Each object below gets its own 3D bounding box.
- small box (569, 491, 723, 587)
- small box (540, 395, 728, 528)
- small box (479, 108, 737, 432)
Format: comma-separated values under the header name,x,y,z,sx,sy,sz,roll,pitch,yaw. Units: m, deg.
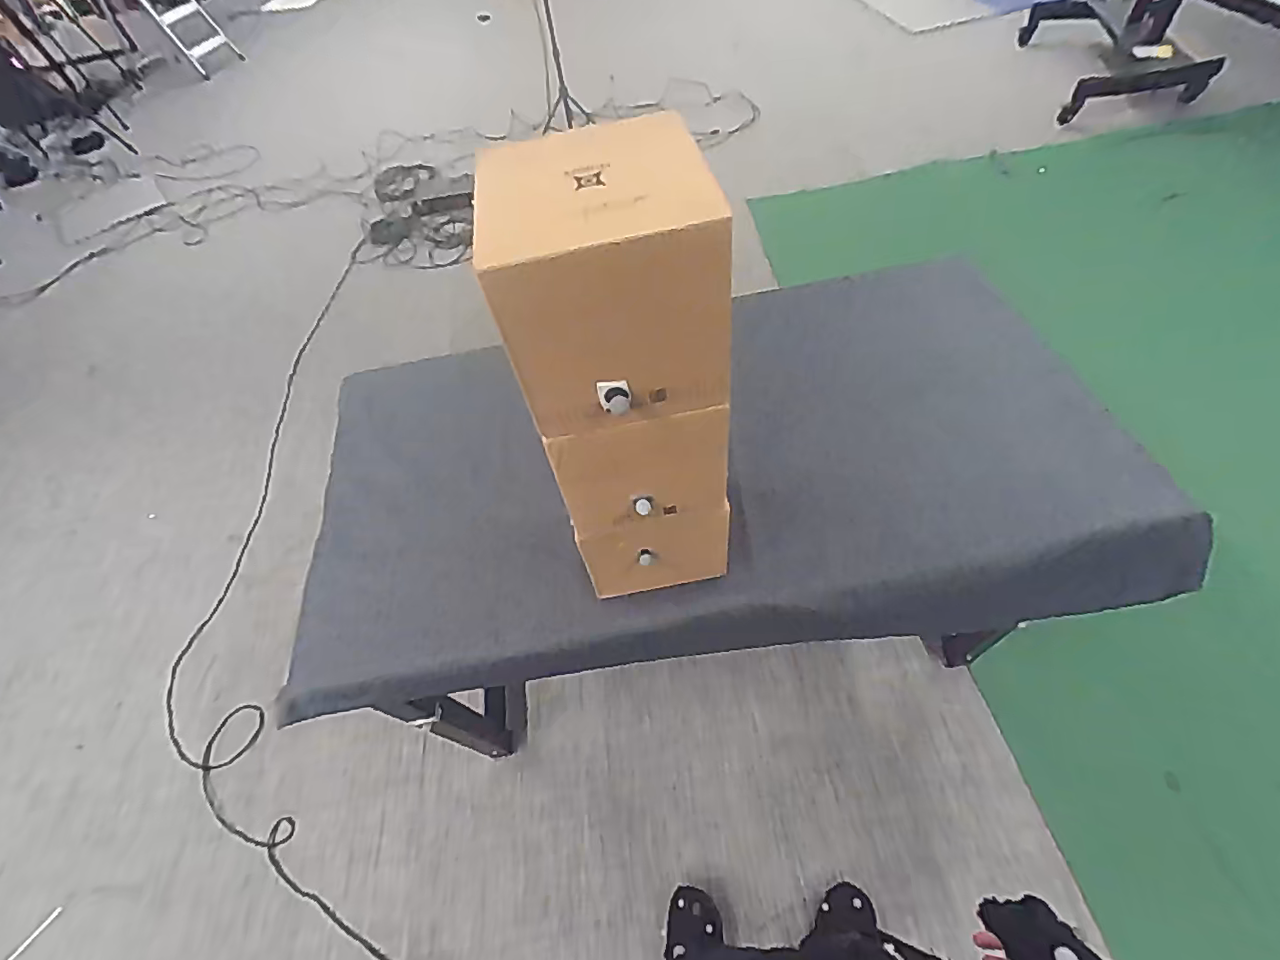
name,x,y,z,sx,sy,sz,roll,pitch,yaw
small box,0.008,0.025,0.709,0.179,0.176,0.168,-11,54,0
small box,-0.008,-0.073,0.578,0.168,0.176,0.179,-10,55,0
small box,-0.024,-0.167,0.448,0.168,0.176,0.179,-12,55,0
